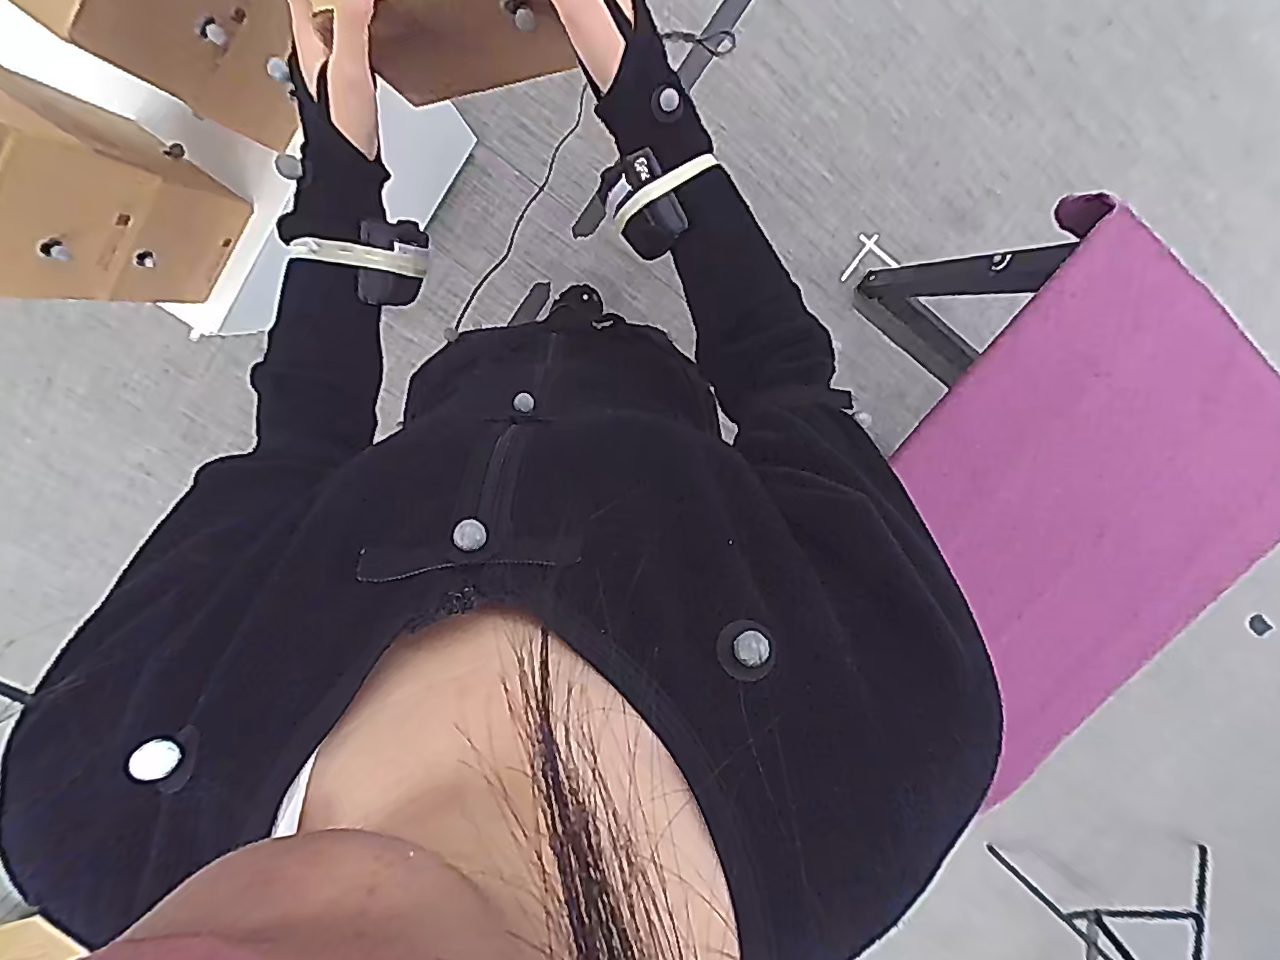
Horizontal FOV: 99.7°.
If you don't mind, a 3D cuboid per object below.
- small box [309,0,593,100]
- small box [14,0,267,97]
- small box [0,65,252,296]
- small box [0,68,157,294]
[{"bbox_3d":[-0.133,-0.403,0.380,0.179,0.176,0.168,-11,108,4],"label":"small box"},{"bbox_3d":[-0.474,-0.483,0.465,0.179,0.176,0.168,37,102,-15],"label":"small box"},{"bbox_3d":[-0.643,-0.344,0.668,0.179,0.176,0.168,36,102,-12],"label":"small box"},{"bbox_3d":[-0.630,-0.295,0.514,0.179,0.176,0.168,34,102,-13],"label":"small box"}]
